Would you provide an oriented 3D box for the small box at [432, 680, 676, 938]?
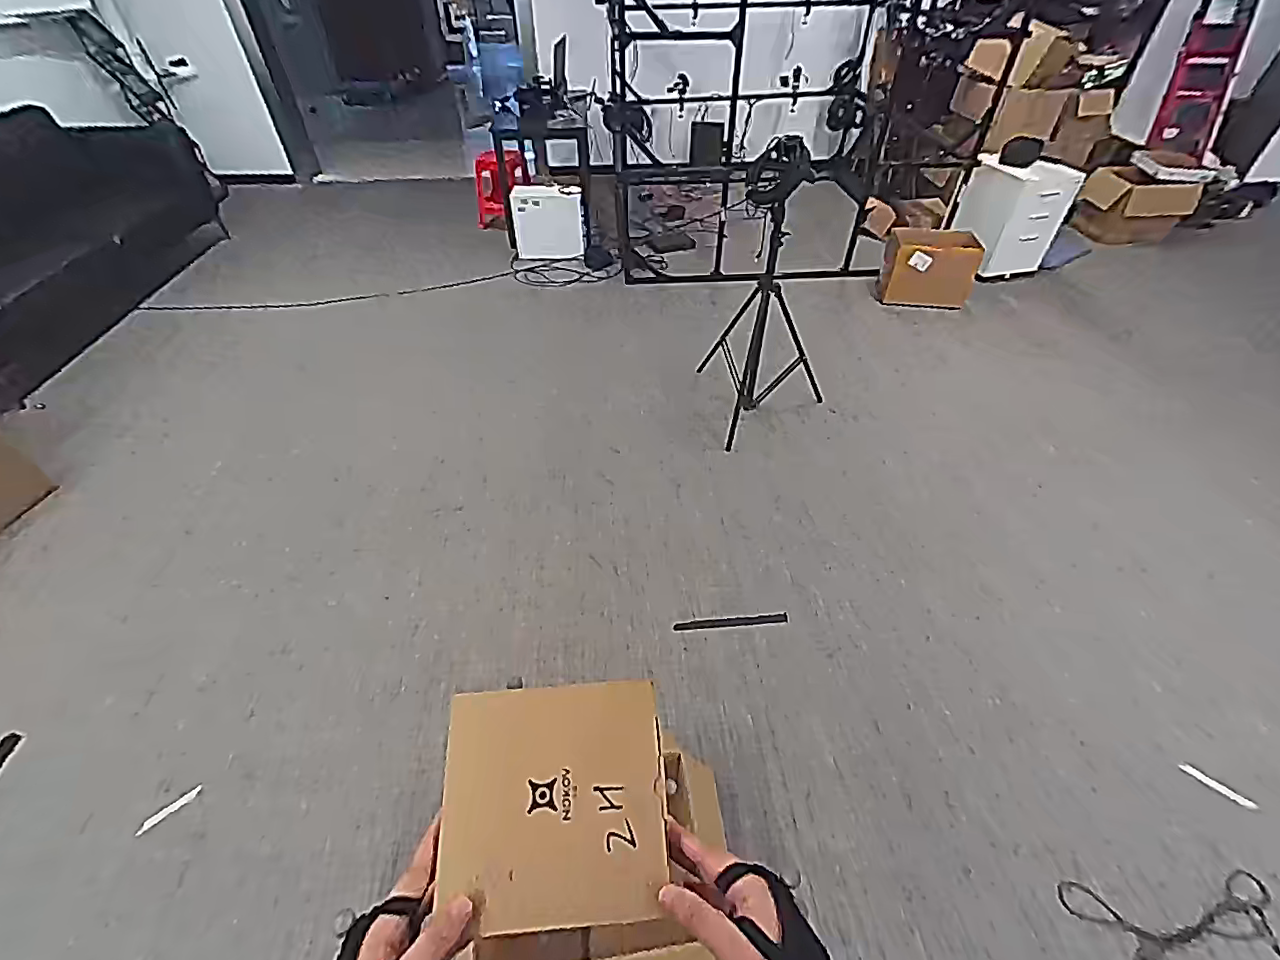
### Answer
[{"bbox_3d":[-0.064,0.286,0.487,0.179,0.176,0.168,-3,60,-3],"label":"small box"}]
